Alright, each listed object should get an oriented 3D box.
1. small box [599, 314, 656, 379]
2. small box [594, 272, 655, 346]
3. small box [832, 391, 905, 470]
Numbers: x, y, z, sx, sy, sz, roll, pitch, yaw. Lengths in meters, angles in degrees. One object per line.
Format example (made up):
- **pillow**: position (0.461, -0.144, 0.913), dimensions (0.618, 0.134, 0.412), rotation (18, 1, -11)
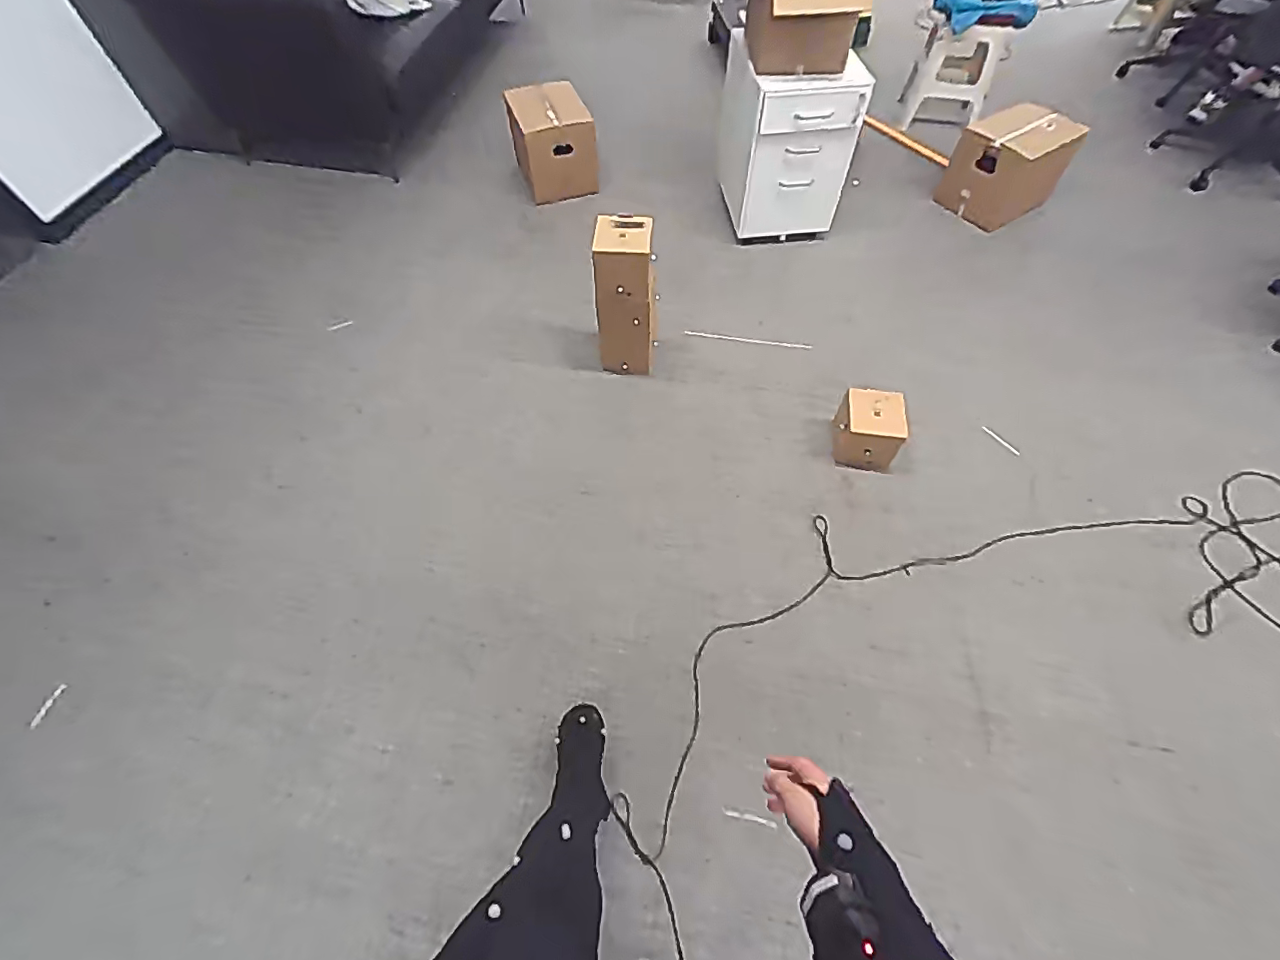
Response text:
- **small box**: position (-0.041, -0.482, 1.928), dimensions (0.179, 0.176, 0.168), rotation (8, 58, 6)
- **small box**: position (-0.045, -0.560, 1.785), dimensions (0.179, 0.176, 0.168), rotation (4, 56, 6)
- **small box**: position (0.709, -0.151, 1.693), dimensions (0.168, 0.176, 0.179), rotation (7, 58, 5)
